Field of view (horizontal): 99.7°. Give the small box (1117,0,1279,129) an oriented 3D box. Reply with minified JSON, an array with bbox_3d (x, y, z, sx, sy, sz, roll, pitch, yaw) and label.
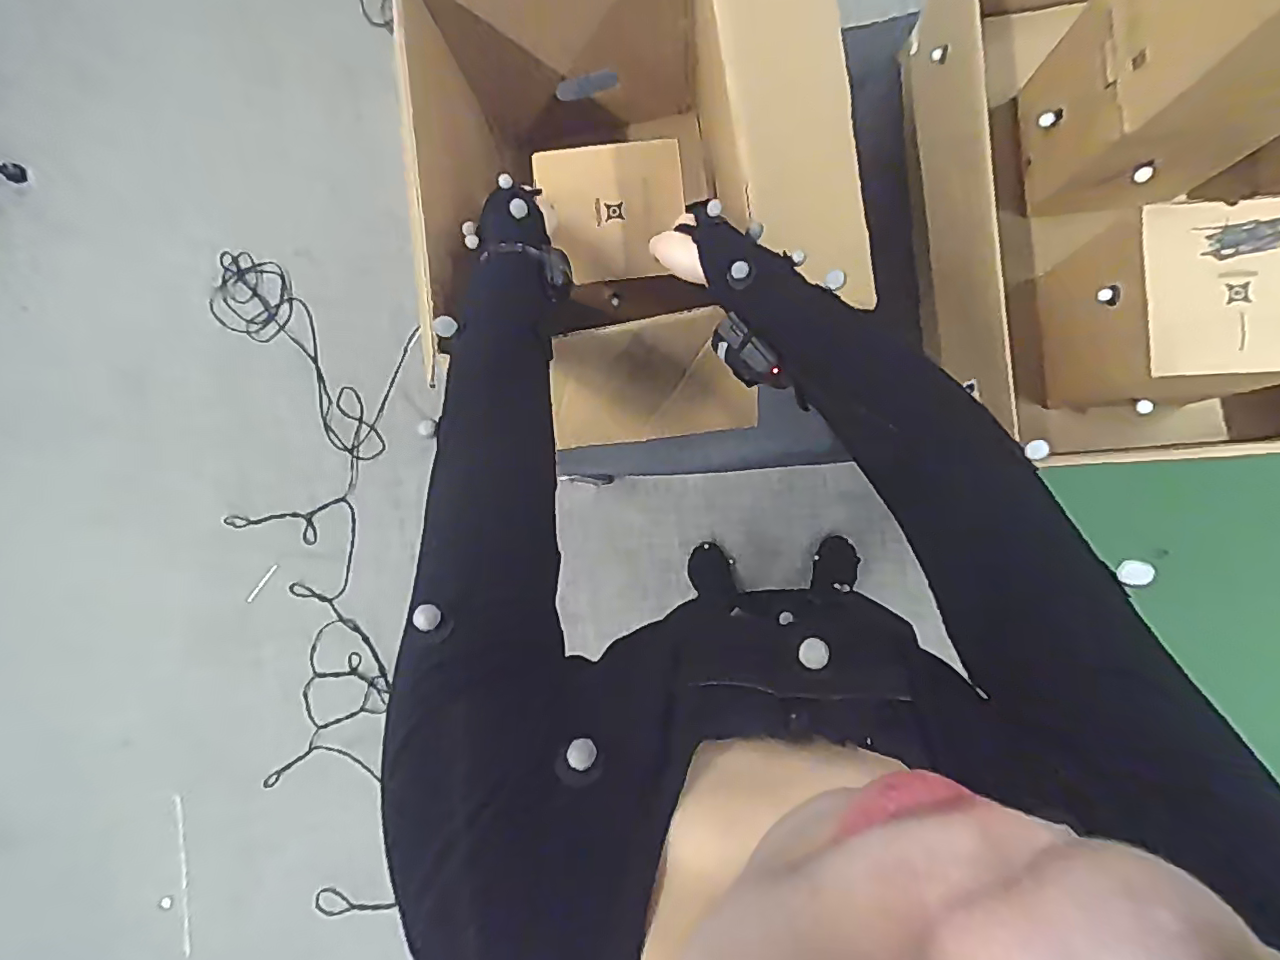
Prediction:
[{"bbox_3d":[0.549,-0.431,0.453,0.179,0.176,0.168,-5,89,6],"label":"small box"}]
